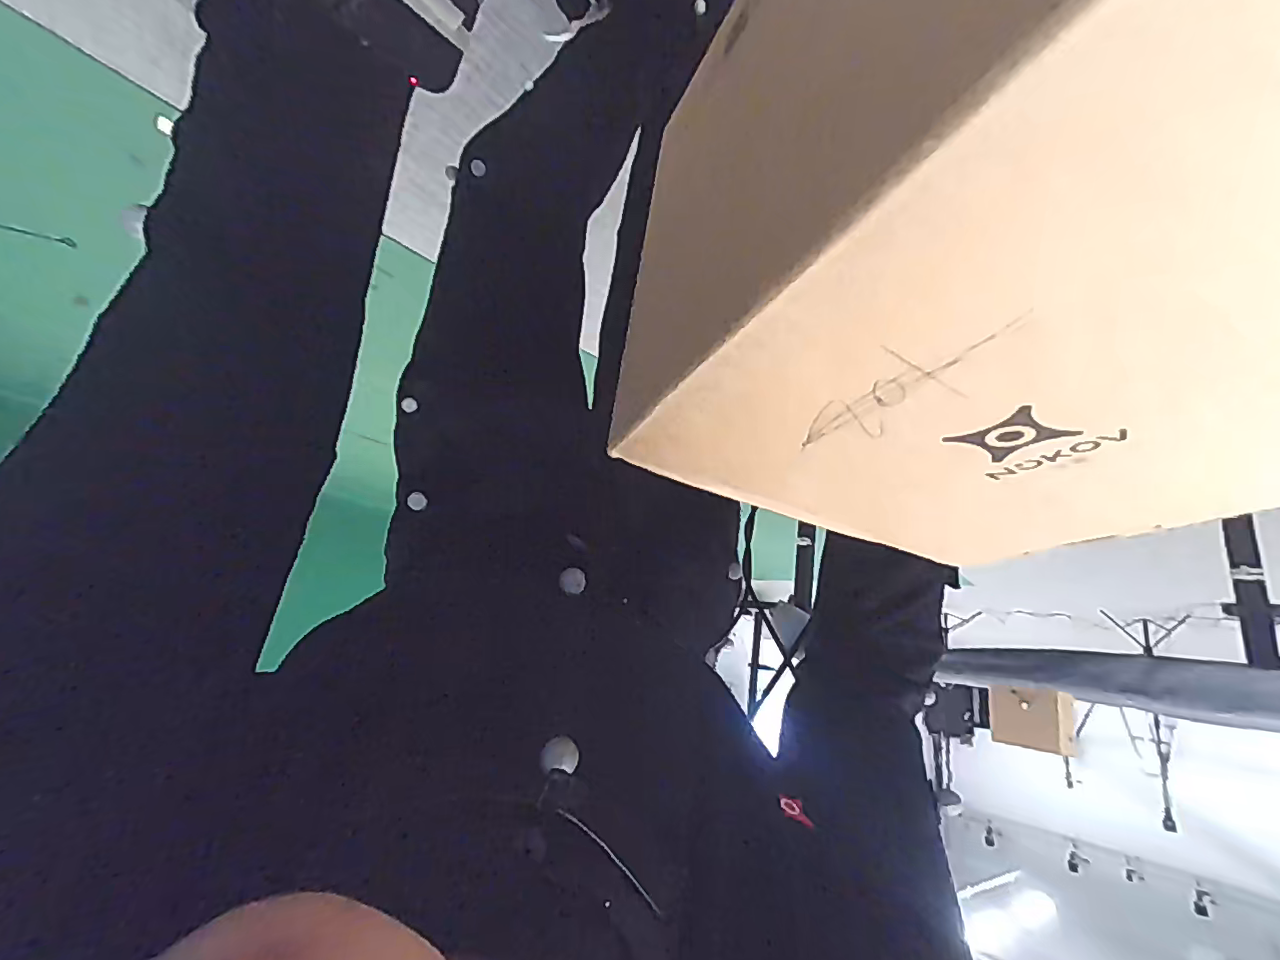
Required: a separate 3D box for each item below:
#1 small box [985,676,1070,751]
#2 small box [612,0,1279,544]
[{"bbox_3d":[1.118,0.670,1.560,0.179,0.176,0.168,24,157,-37],"label":"small box"},{"bbox_3d":[0.111,-0.094,0.181,0.179,0.176,0.168,18,154,-19],"label":"small box"}]
